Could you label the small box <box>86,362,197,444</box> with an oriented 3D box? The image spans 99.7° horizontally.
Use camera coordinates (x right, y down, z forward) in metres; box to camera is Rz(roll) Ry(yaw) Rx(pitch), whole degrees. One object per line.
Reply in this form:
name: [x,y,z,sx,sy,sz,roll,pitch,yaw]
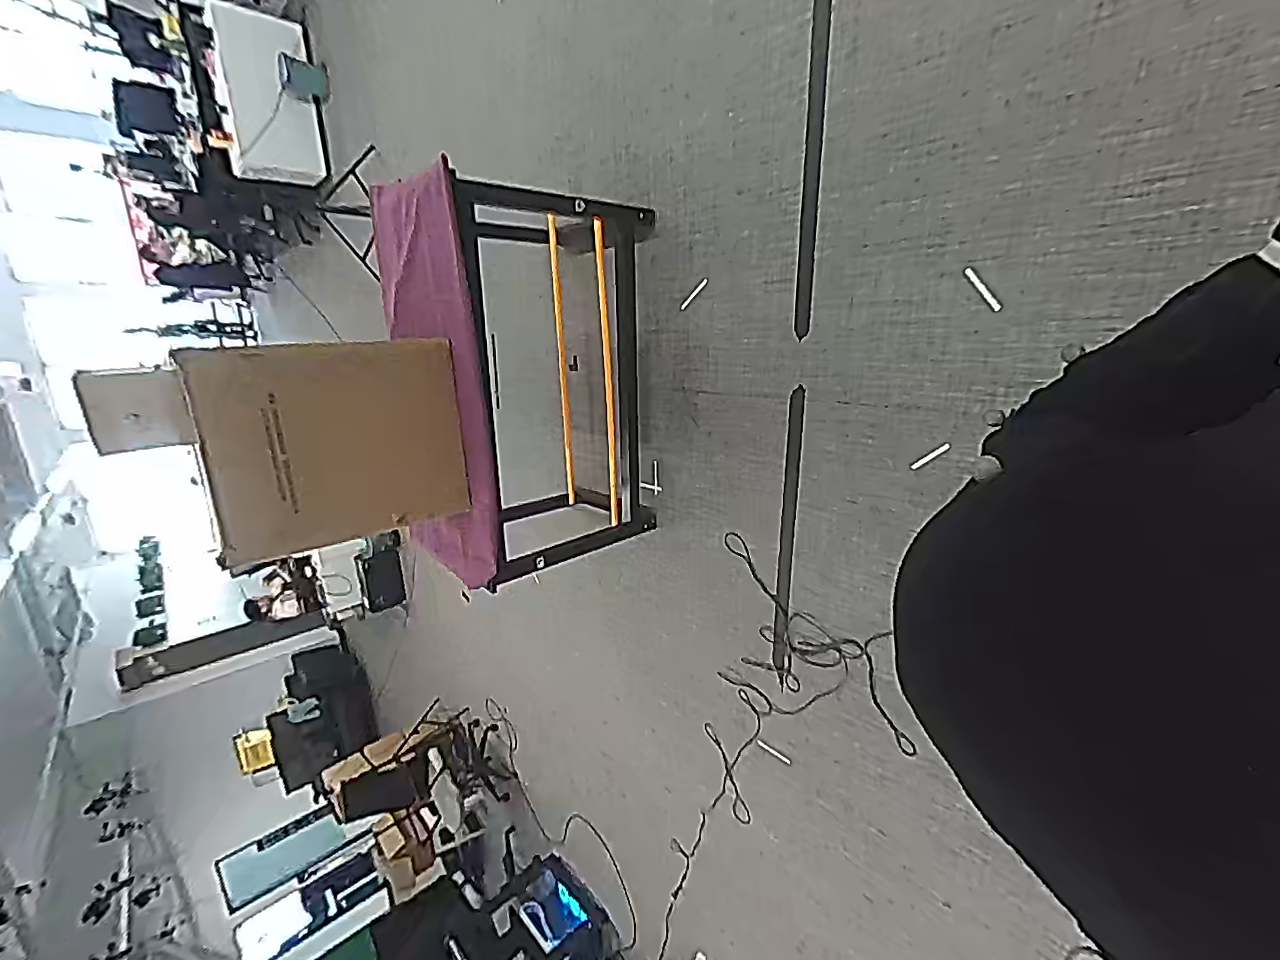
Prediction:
small box: [-1.237,-0.198,1.354,0.168,0.176,0.179,14,113,48]
